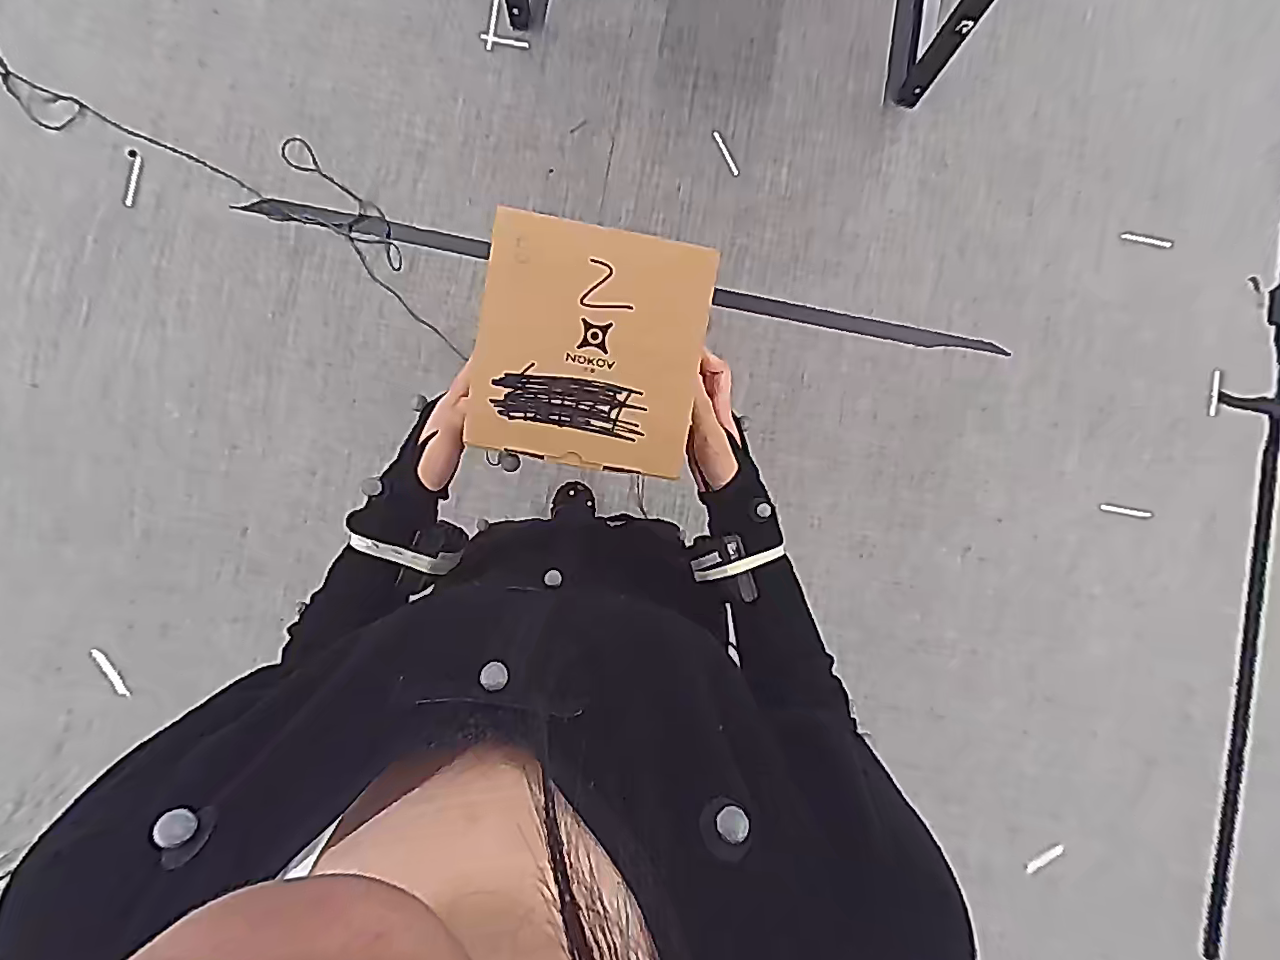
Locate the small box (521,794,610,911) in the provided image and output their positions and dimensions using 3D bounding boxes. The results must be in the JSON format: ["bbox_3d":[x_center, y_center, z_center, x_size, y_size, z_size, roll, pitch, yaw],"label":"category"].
[{"bbox_3d":[-0.184,0.936,1.376,0.179,0.176,0.168,18,87,-4],"label":"small box"}]

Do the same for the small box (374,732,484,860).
[{"bbox_3d":[-0.462,0.697,1.209,0.168,0.176,0.179,12,86,-2],"label":"small box"}]
